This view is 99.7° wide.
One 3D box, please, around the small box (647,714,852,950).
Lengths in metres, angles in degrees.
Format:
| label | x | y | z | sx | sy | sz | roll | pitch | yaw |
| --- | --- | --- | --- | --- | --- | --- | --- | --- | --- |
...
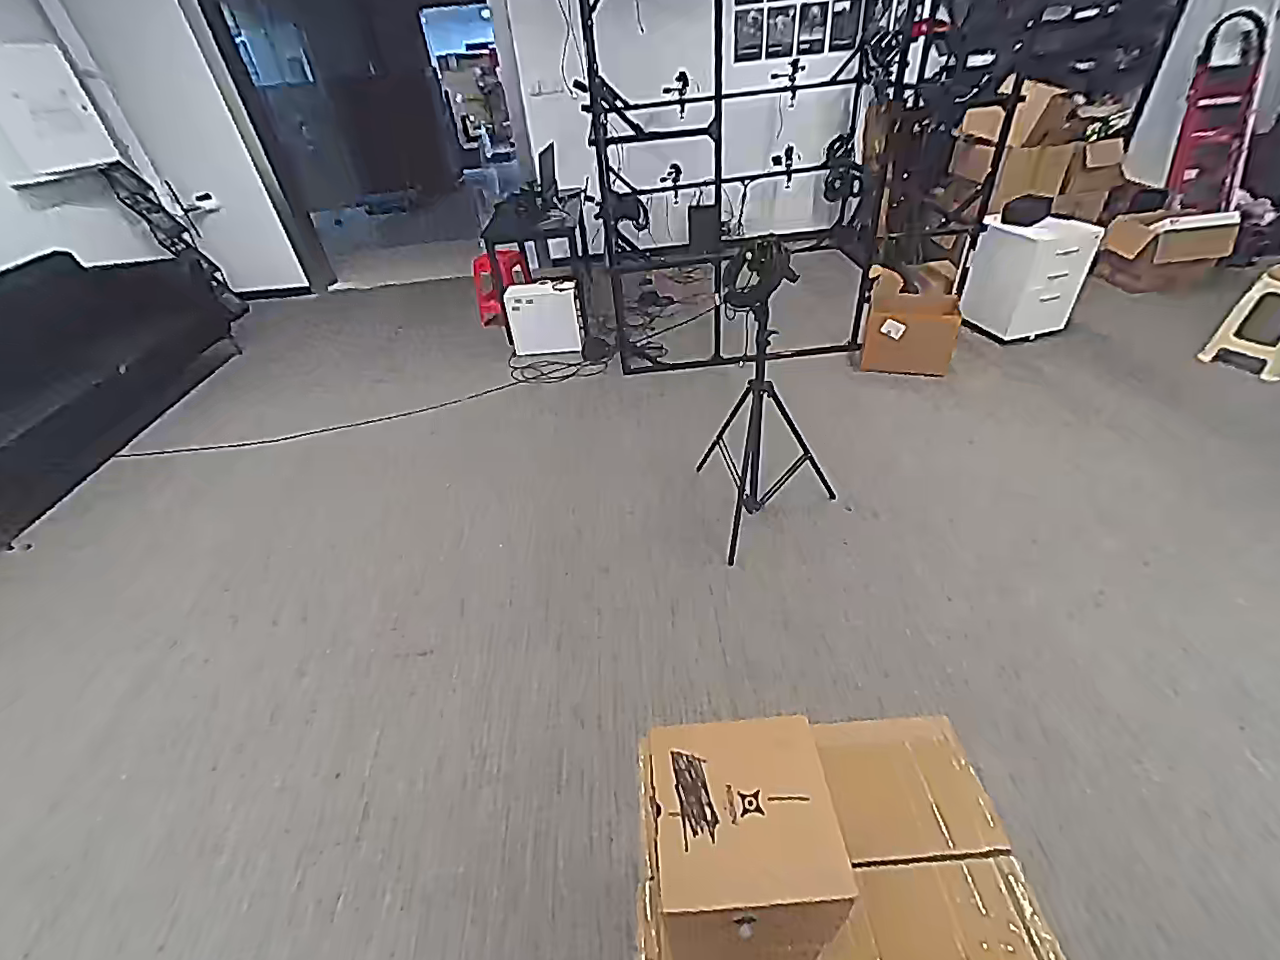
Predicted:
| label | x | y | z | sx | sy | sz | roll | pitch | yaw |
| --- | --- | --- | --- | --- | --- | --- | --- | --- | --- |
| small box | 0.105 | 0.379 | 0.583 | 0.179 | 0.176 | 0.168 | -5 | 39 | 1 |

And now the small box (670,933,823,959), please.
| label | x | y | z | sx | sy | sz | roll | pitch | yaw |
| --- | --- | --- | --- | --- | --- | --- | --- | --- | --- |
| small box | 0.117 | 0.505 | 0.688 | 0.168 | 0.176 | 0.179 | -6 | 40 | 2 |
